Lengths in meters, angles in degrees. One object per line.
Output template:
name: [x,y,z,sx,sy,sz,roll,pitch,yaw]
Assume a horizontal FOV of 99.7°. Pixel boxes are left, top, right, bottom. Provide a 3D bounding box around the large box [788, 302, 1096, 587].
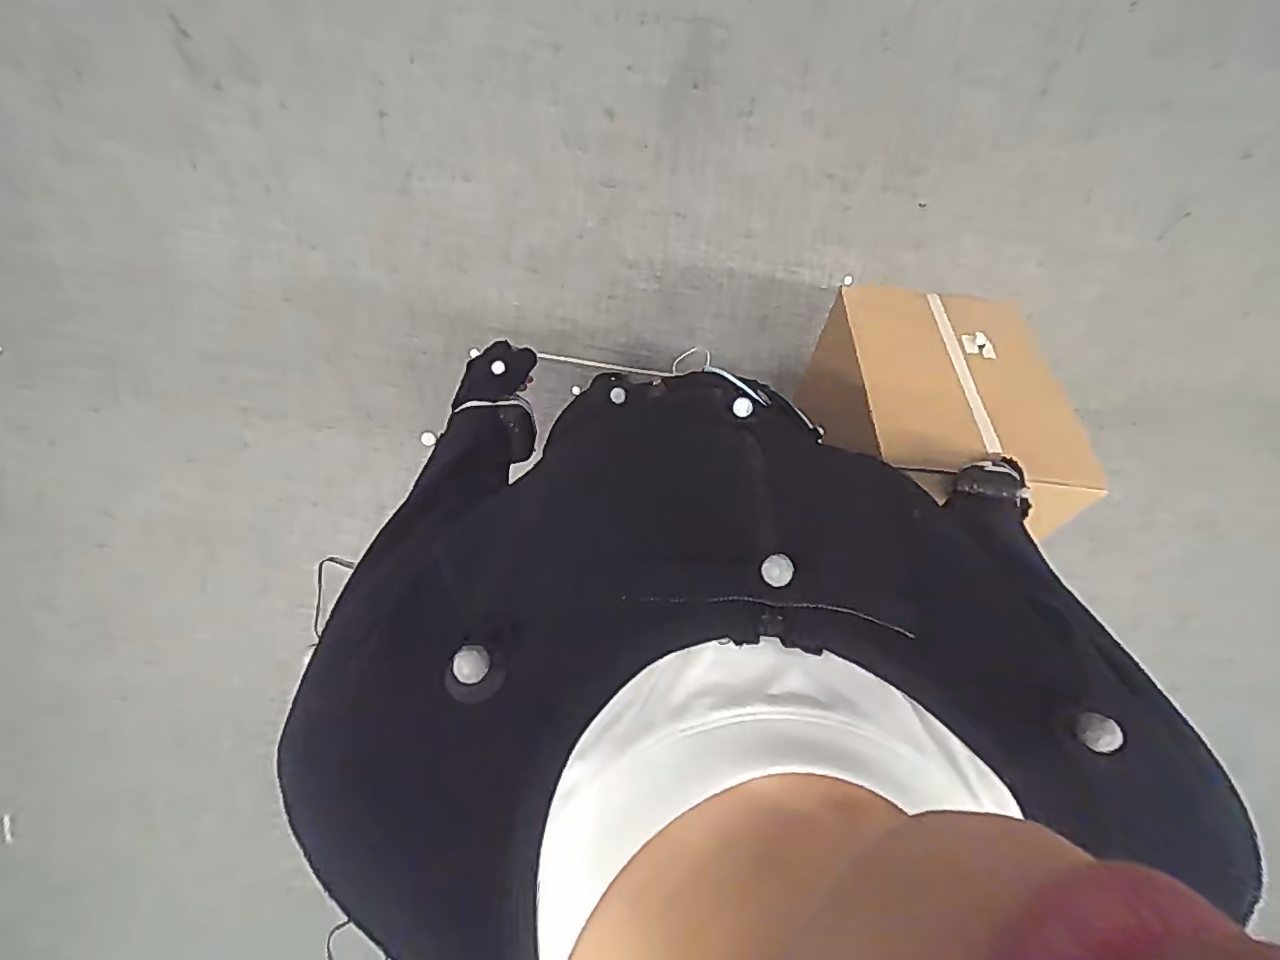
large box: [0.476,-0.059,0.972,0.320,0.408,0.320,6,143,-2]
